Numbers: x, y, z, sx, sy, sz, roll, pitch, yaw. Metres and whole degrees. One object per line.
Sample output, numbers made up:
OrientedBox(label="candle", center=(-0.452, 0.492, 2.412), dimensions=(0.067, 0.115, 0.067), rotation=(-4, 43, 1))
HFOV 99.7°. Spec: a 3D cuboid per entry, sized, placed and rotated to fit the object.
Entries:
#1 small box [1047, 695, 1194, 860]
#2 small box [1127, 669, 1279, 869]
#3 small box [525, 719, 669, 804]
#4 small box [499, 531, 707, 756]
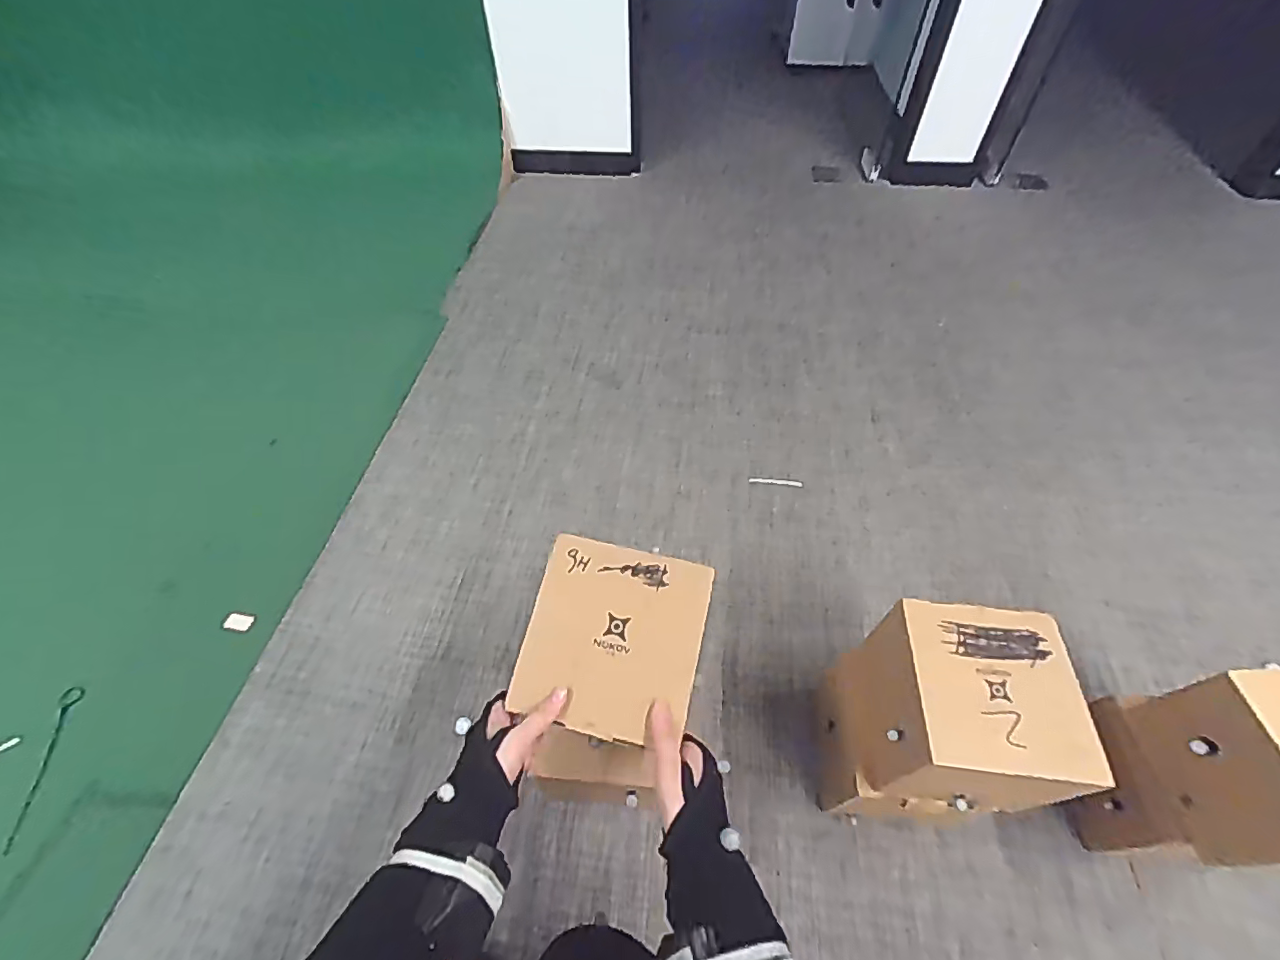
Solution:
OrientedBox(label="small box", center=(0.691, 0.400, 0.721), dimensions=(0.179, 0.176, 0.168), rotation=(3, 53, 3))
OrientedBox(label="small box", center=(0.690, 0.313, 0.583), dimensions=(0.179, 0.176, 0.168), rotation=(-1, 53, -1))
OrientedBox(label="small box", center=(-0.048, 0.352, 0.772), dimensions=(0.179, 0.176, 0.168), rotation=(4, 52, 4))
OrientedBox(label="small box", center=(-0.027, 0.176, 0.589), dimensions=(0.168, 0.176, 0.179), rotation=(12, 70, 8))
